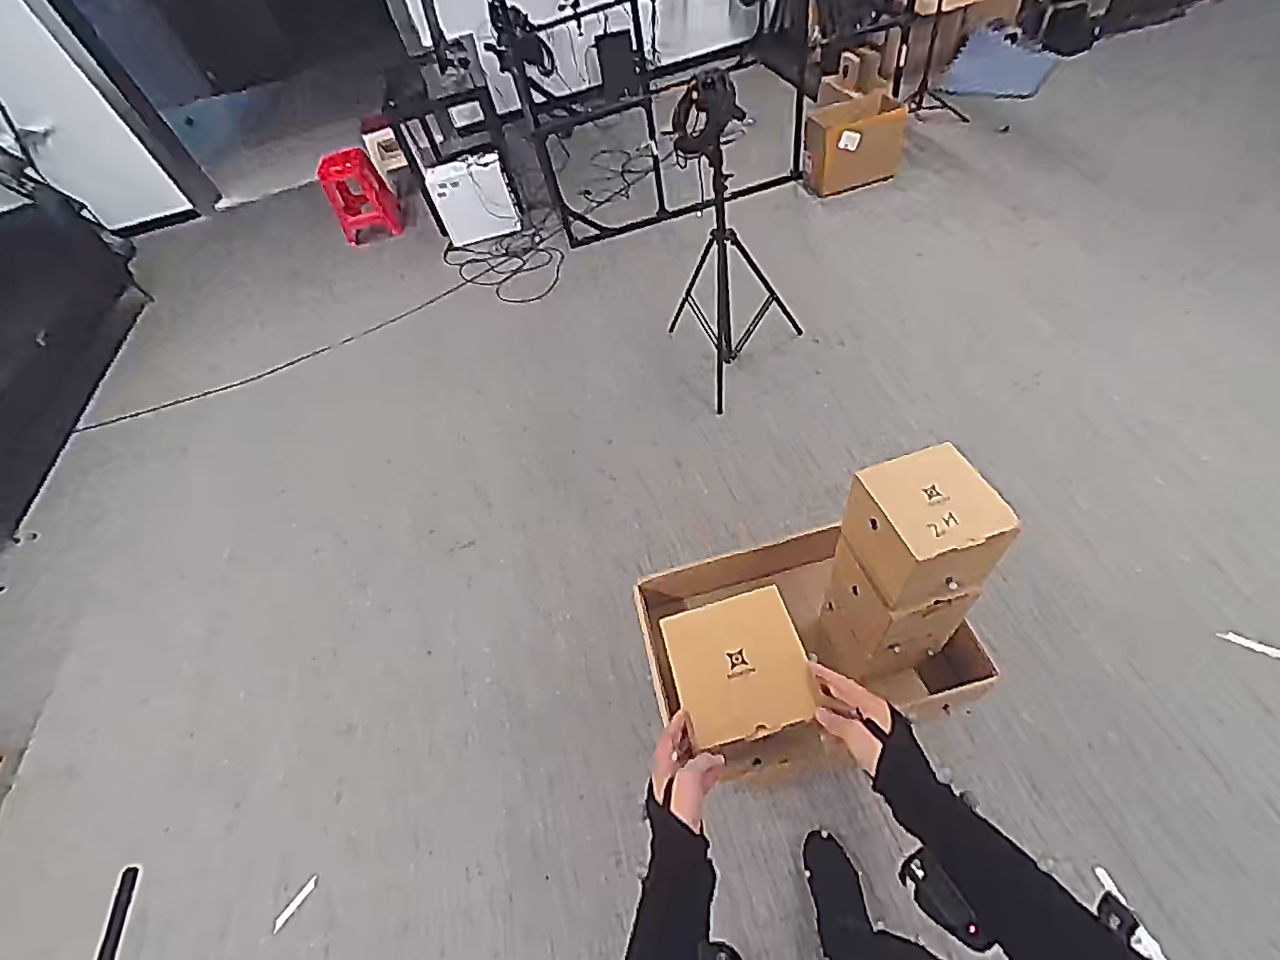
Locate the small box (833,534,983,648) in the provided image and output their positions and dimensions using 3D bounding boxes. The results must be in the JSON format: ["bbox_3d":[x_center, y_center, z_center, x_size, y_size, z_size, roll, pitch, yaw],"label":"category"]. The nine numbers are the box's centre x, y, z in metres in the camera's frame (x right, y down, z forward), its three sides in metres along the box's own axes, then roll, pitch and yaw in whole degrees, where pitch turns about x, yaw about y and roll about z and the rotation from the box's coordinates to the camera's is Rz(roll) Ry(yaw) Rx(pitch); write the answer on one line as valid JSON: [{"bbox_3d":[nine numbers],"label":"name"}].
[{"bbox_3d":[0.473,0.188,0.987,0.168,0.176,0.179,-18,51,-3],"label":"small box"}]

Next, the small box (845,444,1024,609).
[{"bbox_3d":[0.451,0.077,0.866,0.168,0.176,0.179,-18,52,-2],"label":"small box"}]

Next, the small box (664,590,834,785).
[{"bbox_3d":[0.141,0.280,0.725,0.168,0.176,0.179,-18,50,1],"label":"small box"}]
